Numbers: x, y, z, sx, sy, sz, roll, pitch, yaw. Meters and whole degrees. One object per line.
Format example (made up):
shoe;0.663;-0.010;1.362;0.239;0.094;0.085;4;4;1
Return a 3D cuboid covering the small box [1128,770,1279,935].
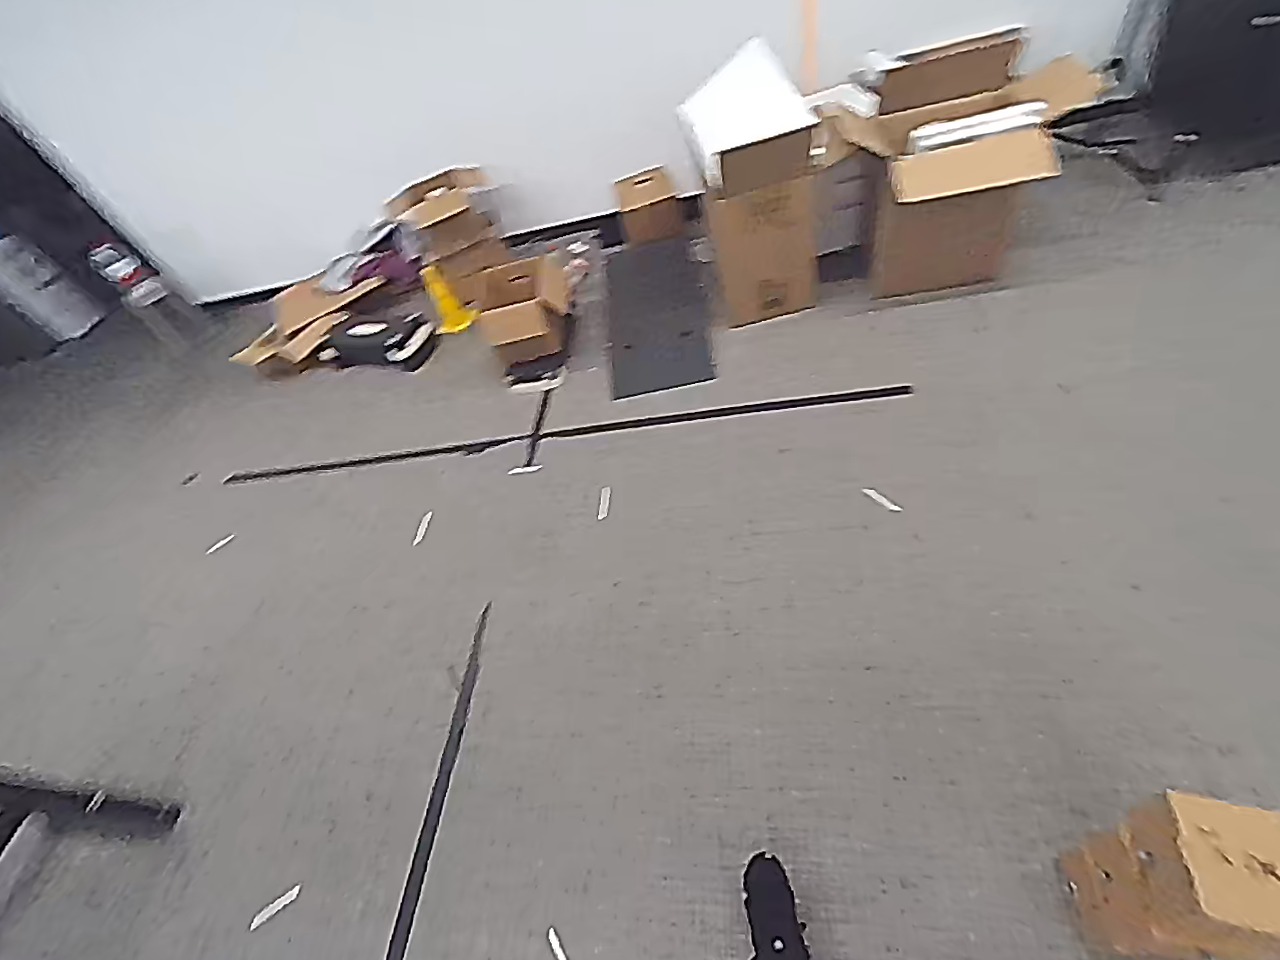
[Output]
small box;0.899;0.565;0.818;0.179;0.176;0.168;4;52;20

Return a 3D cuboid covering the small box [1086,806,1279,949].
small box;0.925;0.682;0.933;0.179;0.176;0.168;-1;51;16

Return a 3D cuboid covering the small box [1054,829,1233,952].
small box;0.956;0.791;1.048;0.179;0.176;0.168;-3;50;14
